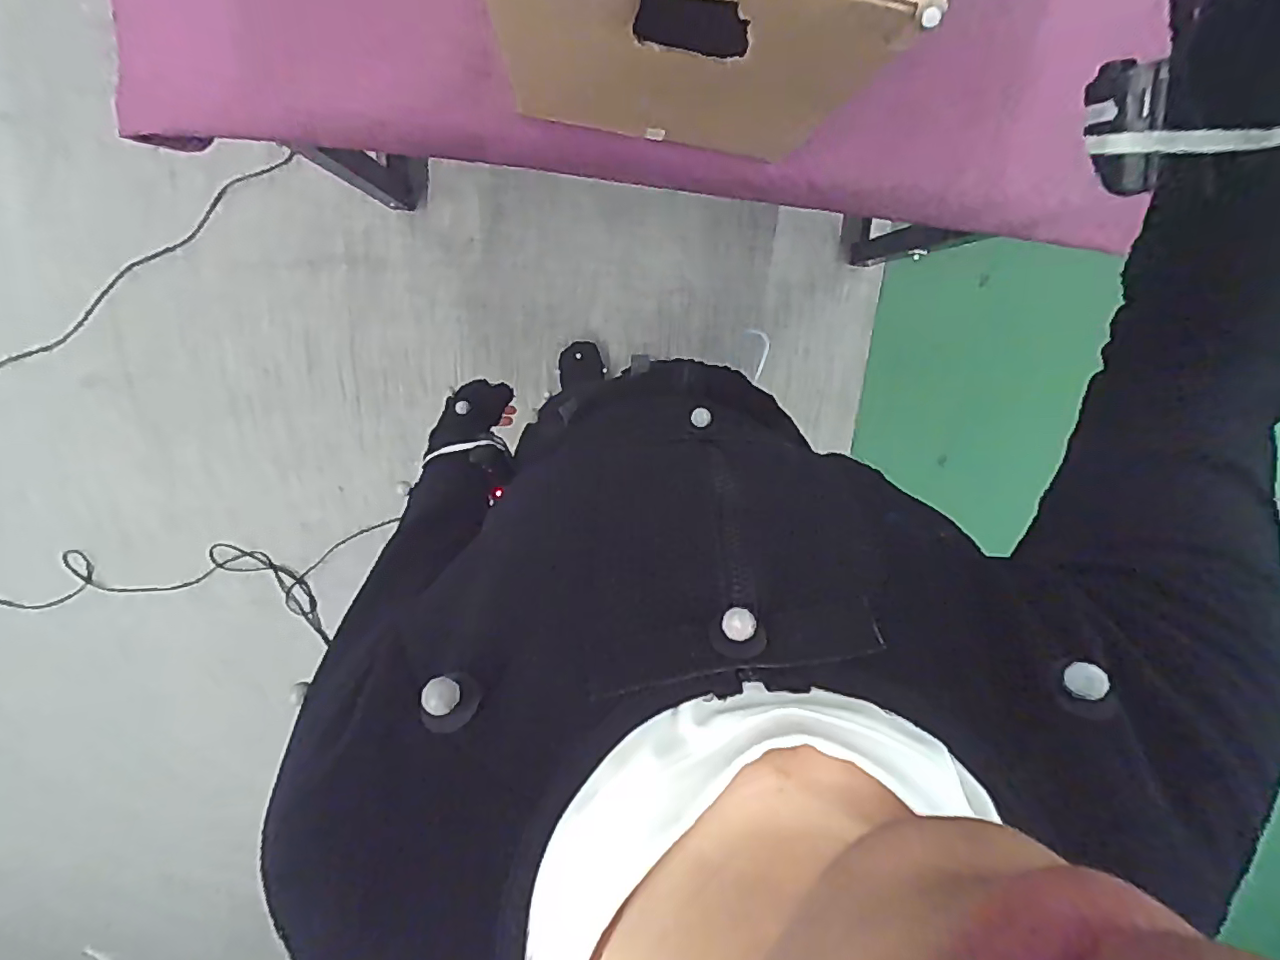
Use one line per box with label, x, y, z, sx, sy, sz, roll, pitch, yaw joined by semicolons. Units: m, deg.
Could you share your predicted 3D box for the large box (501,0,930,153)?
large box;0.057;-0.561;0.446;0.320;0.320;0.408;6;105;-7
